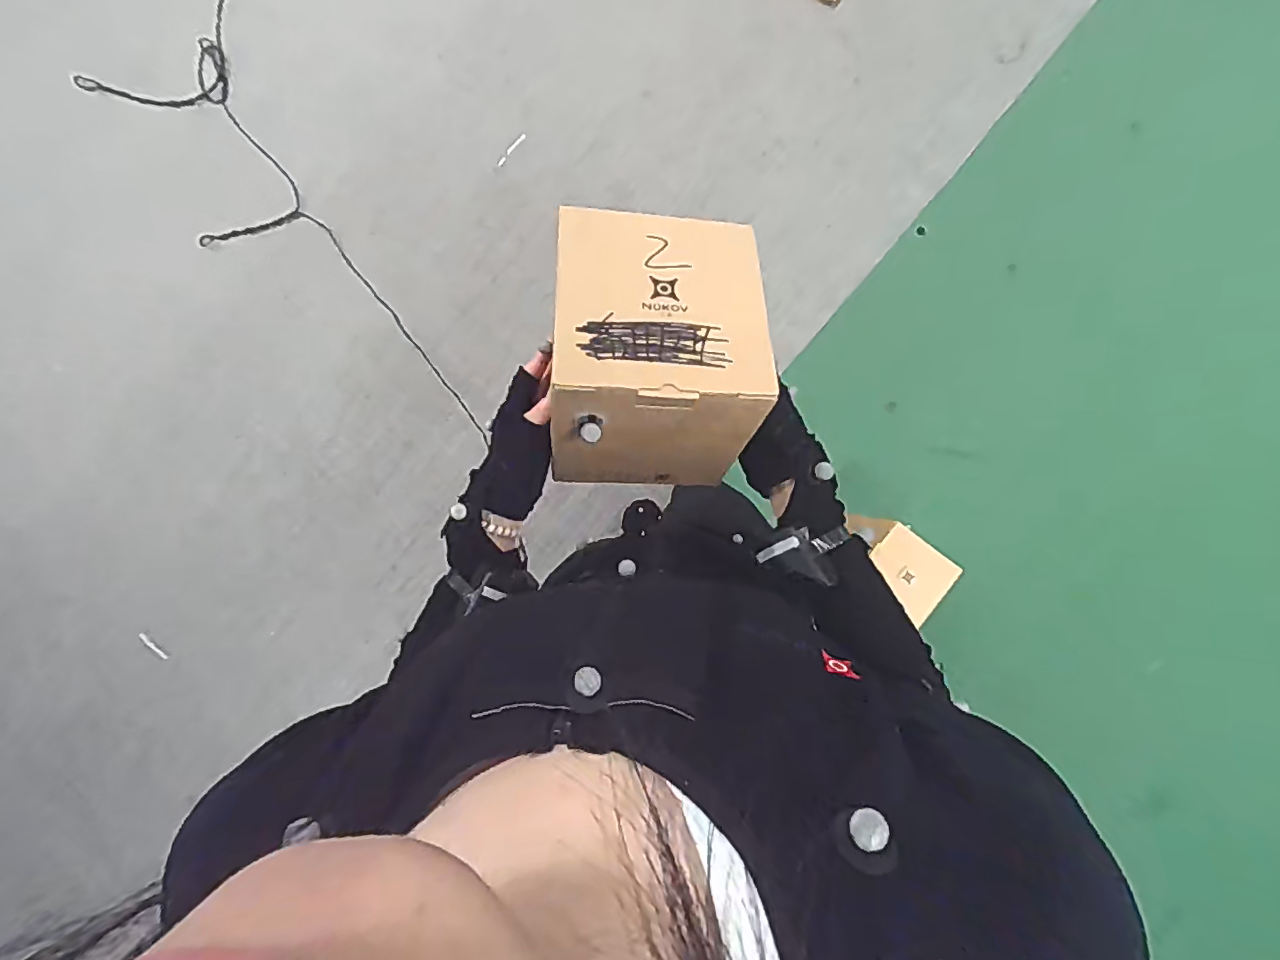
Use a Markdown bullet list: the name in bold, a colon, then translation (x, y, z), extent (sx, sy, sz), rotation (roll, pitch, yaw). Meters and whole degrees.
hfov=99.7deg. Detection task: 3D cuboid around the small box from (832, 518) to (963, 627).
- **small box**: translation (0.572, 0.198, 1.226), extent (0.179, 0.176, 0.168), rotation (37, 92, 3)
